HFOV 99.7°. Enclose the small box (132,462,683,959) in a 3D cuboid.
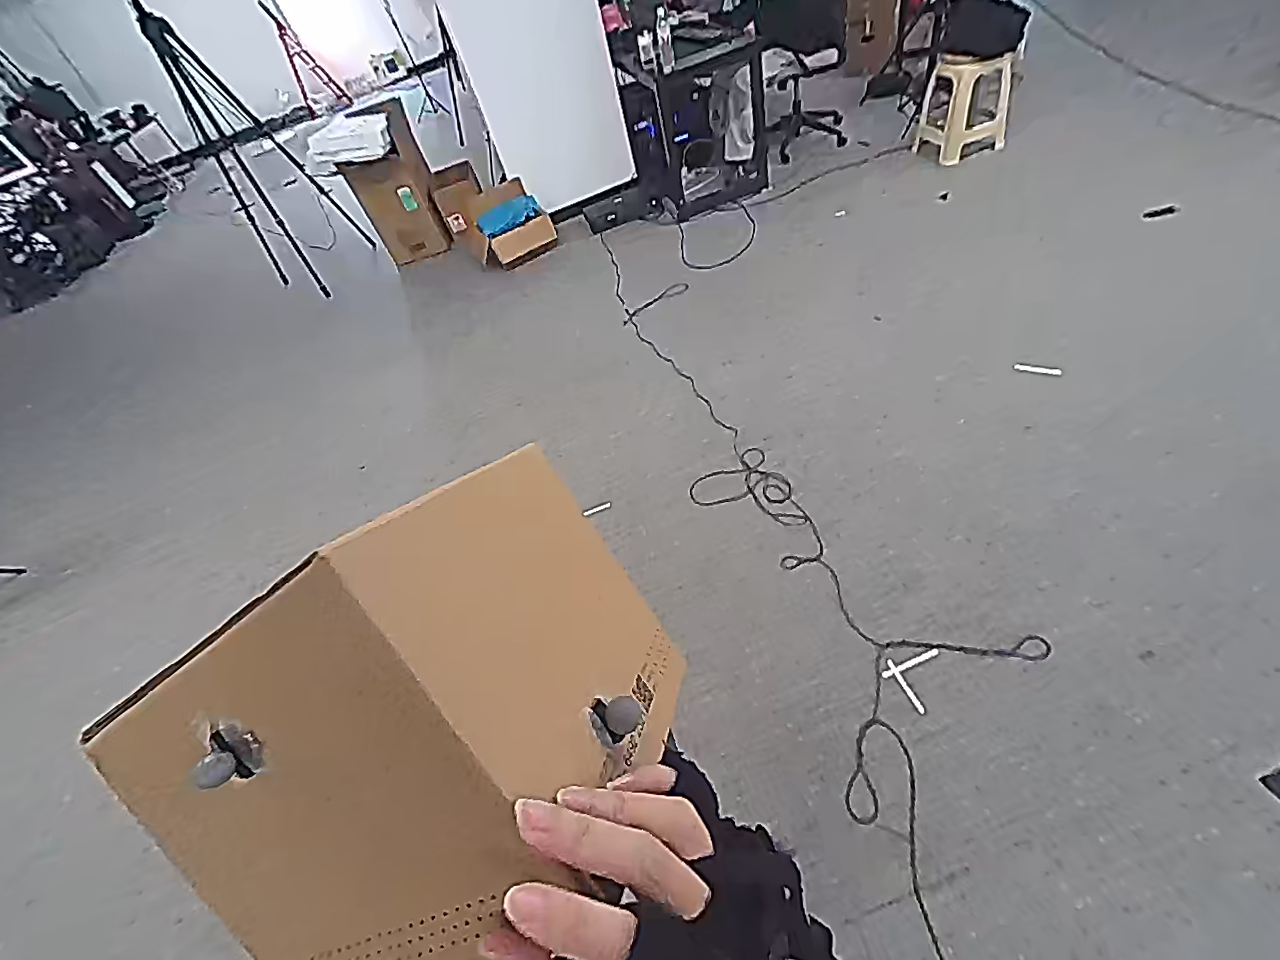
[{"bbox_3d":[-0.102,0.119,0.299,0.179,0.176,0.168,-32,6,19],"label":"small box"}]
